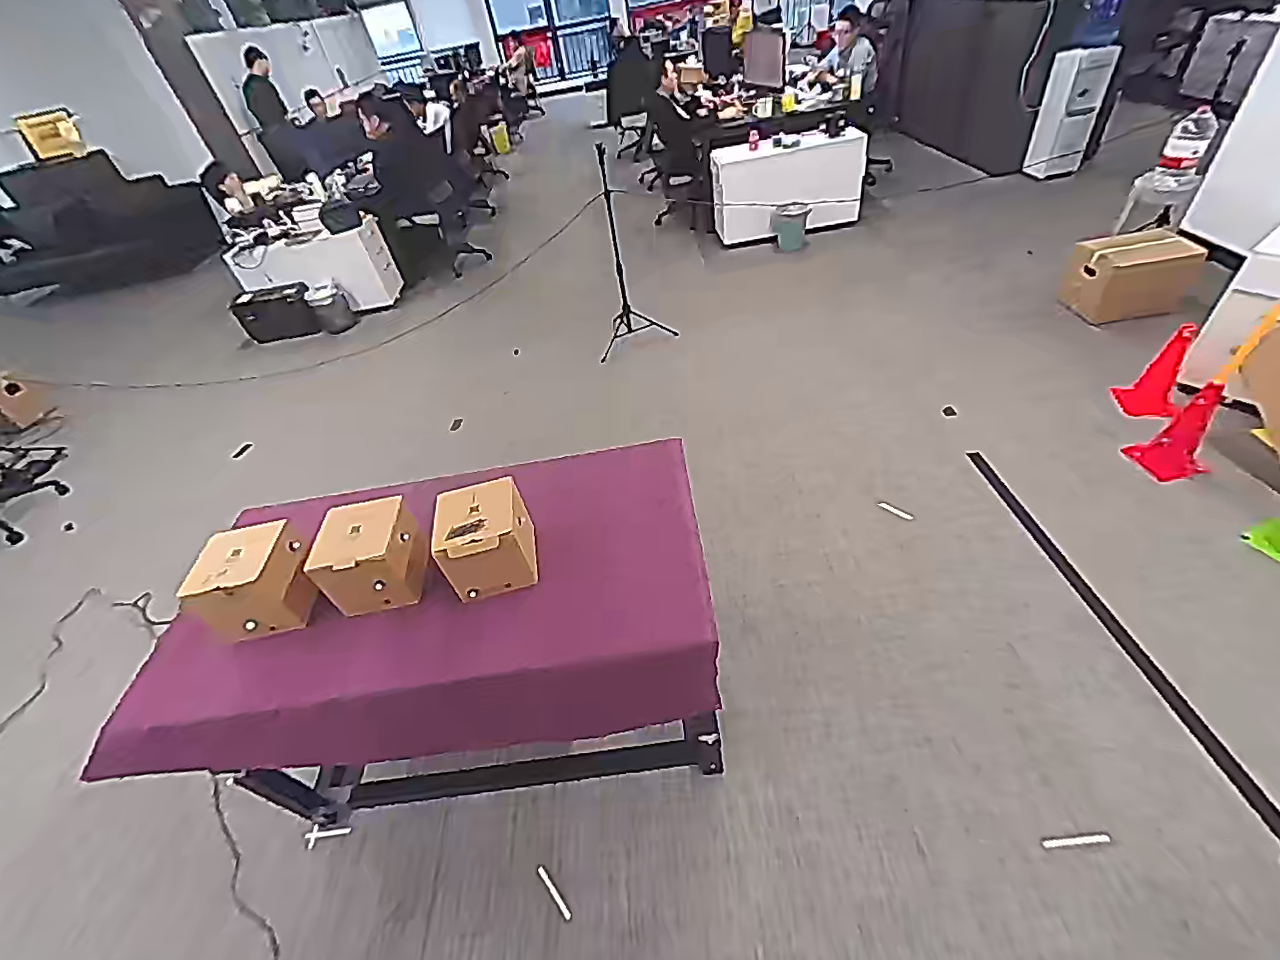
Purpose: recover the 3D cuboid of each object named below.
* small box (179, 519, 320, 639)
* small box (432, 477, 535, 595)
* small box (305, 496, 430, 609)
[{"bbox_3d":[-0.823,0.214,1.172,0.168,0.176,0.179,-12,43,0],"label":"small box"},{"bbox_3d":[-0.328,0.126,1.159,0.168,0.176,0.179,-14,42,-3],"label":"small box"},{"bbox_3d":[-0.577,0.164,1.176,0.168,0.176,0.179,-10,42,1],"label":"small box"}]
